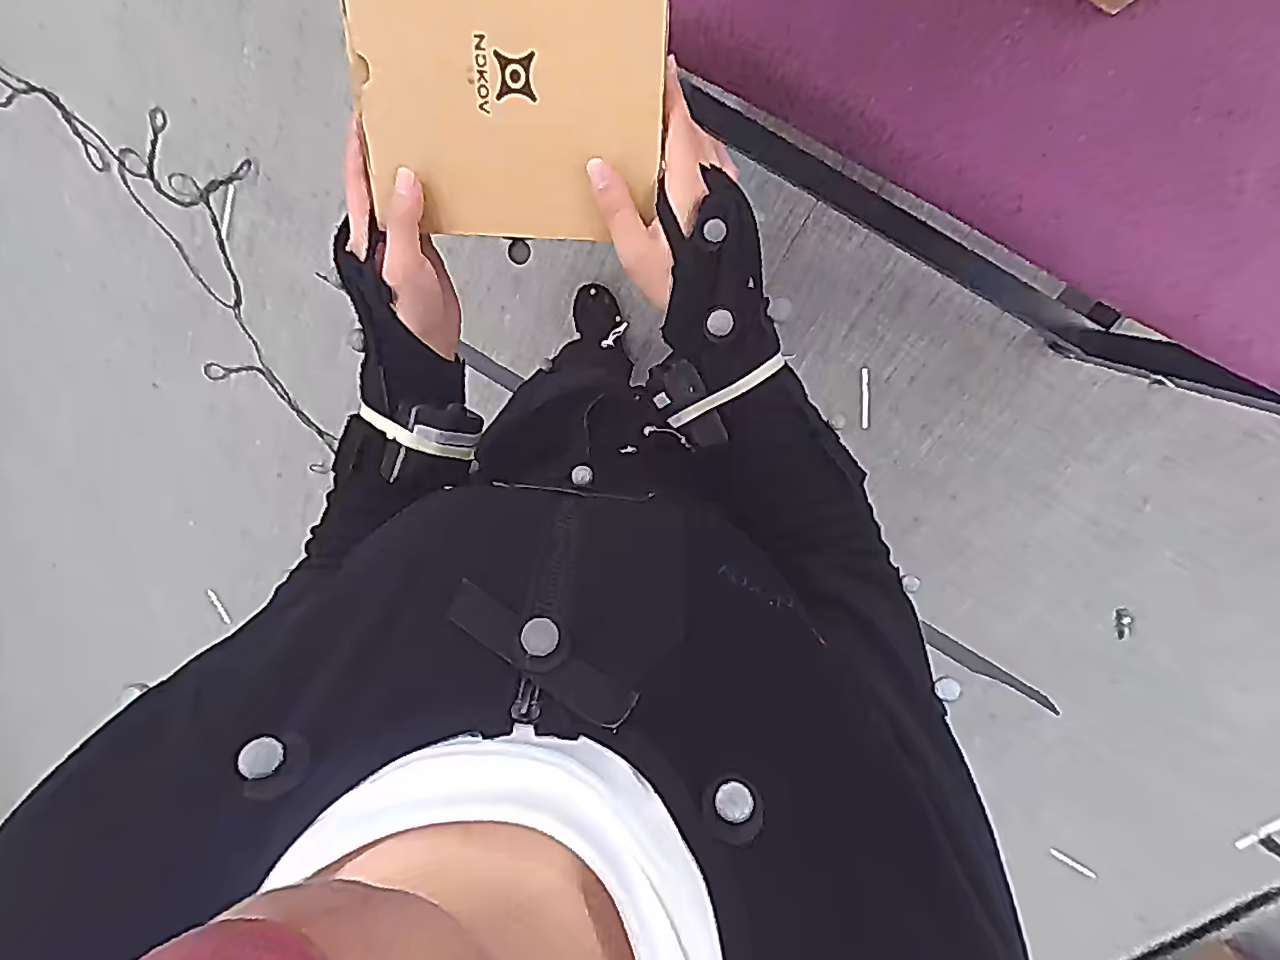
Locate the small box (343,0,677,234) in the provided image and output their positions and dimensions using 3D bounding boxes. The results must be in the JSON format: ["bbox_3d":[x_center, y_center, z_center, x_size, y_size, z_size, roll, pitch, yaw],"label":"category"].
[{"bbox_3d":[-0.067,-0.261,0.363,0.179,0.176,0.168,3,115,2],"label":"small box"}]
